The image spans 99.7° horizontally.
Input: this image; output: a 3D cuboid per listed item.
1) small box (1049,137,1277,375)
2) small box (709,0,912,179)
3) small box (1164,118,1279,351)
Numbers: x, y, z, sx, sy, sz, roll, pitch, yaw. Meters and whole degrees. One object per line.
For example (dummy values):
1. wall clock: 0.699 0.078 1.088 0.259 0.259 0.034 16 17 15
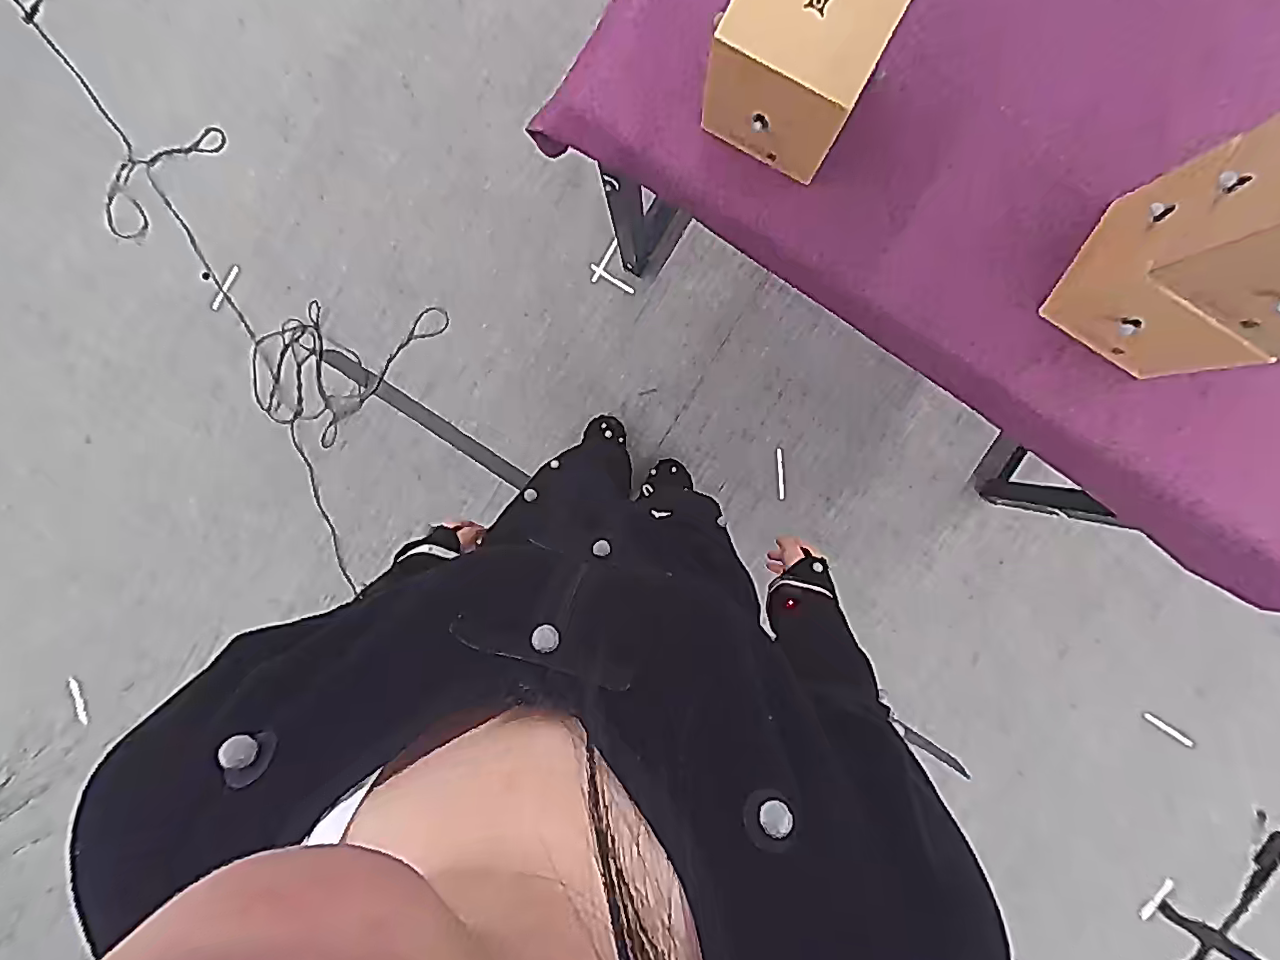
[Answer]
1. small box: 0.643 -0.243 0.642 0.168 0.176 0.179 33 94 0
2. small box: 0.192 -0.502 0.638 0.168 0.176 0.179 29 94 -1
3. small box: 0.639 -0.236 0.478 0.168 0.176 0.179 34 95 0
